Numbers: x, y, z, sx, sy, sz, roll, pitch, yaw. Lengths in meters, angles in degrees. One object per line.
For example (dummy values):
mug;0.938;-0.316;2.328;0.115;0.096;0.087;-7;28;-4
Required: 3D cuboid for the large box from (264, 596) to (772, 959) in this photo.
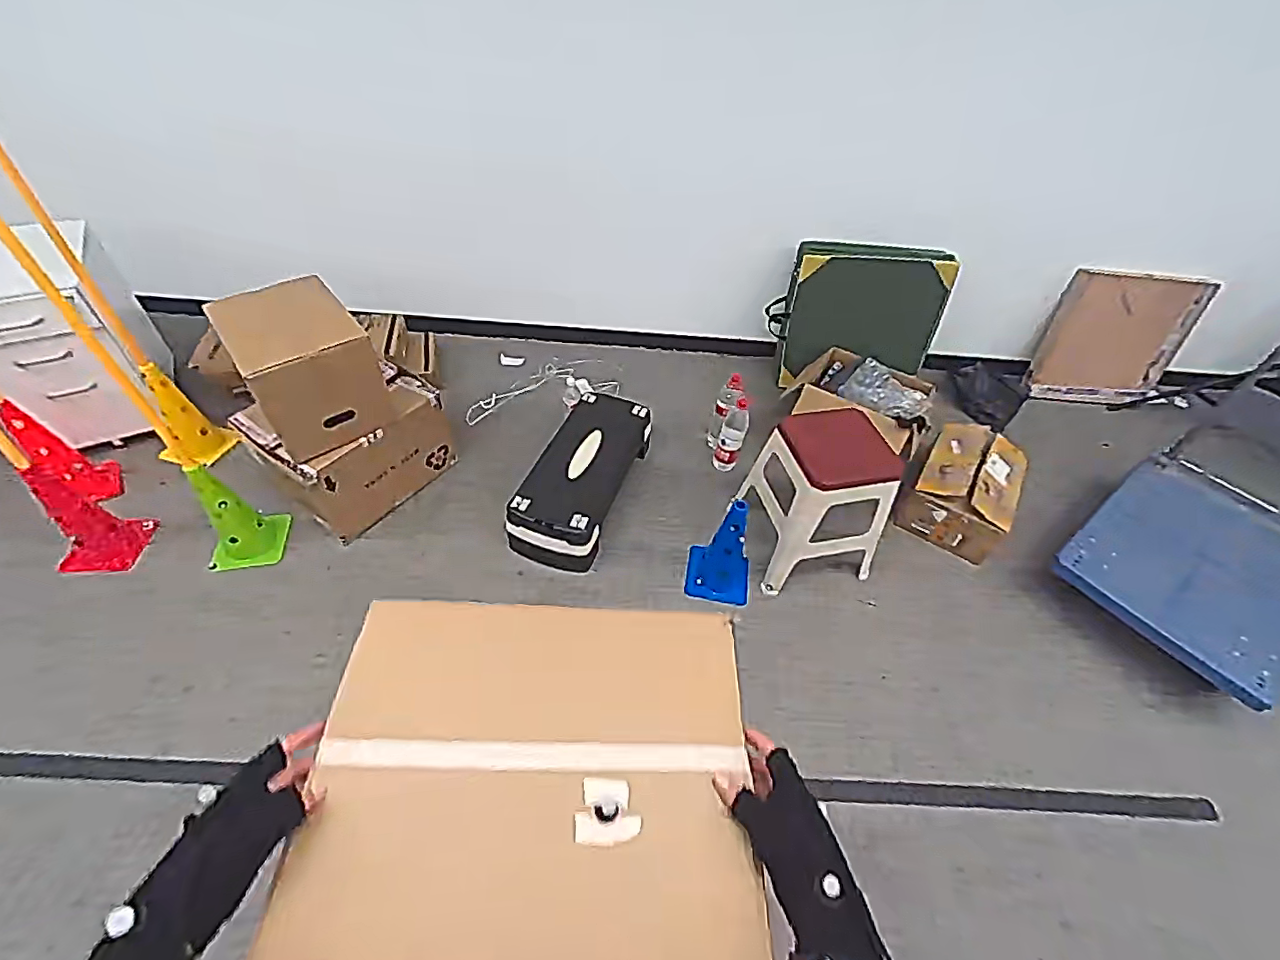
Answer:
large box;-0.106;0.353;0.629;0.408;0.320;0.320;4;50;-4
